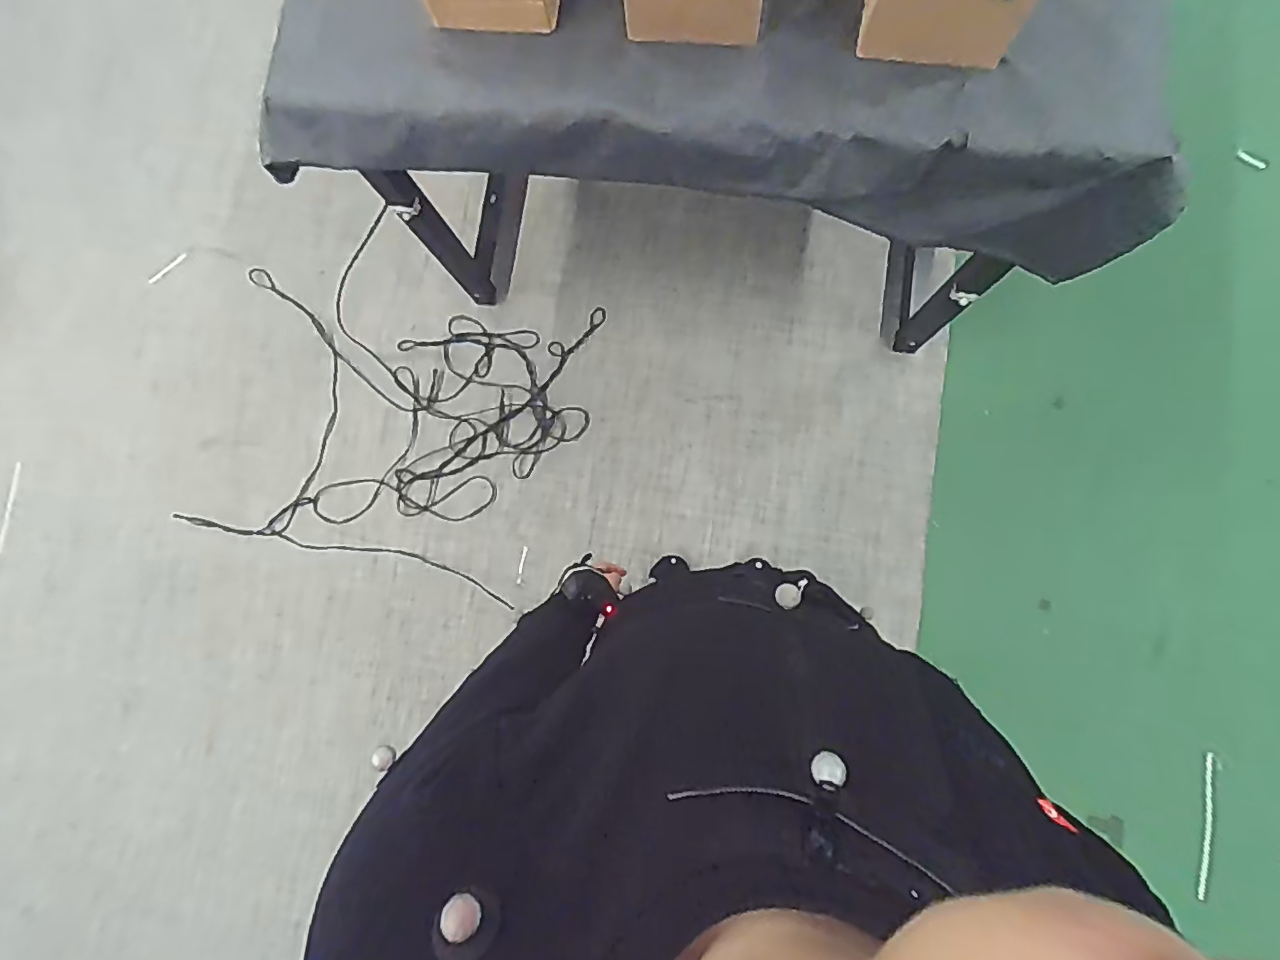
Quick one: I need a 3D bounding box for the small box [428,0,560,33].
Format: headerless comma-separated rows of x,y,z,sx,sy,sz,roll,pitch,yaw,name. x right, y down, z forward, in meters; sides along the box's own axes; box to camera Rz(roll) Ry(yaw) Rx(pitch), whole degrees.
-0.201,-0.721,0.691,0.179,0.176,0.168,7,83,6,small box

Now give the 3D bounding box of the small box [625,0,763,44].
0.074,-0.678,0.660,0.179,0.176,0.168,7,82,8,small box
